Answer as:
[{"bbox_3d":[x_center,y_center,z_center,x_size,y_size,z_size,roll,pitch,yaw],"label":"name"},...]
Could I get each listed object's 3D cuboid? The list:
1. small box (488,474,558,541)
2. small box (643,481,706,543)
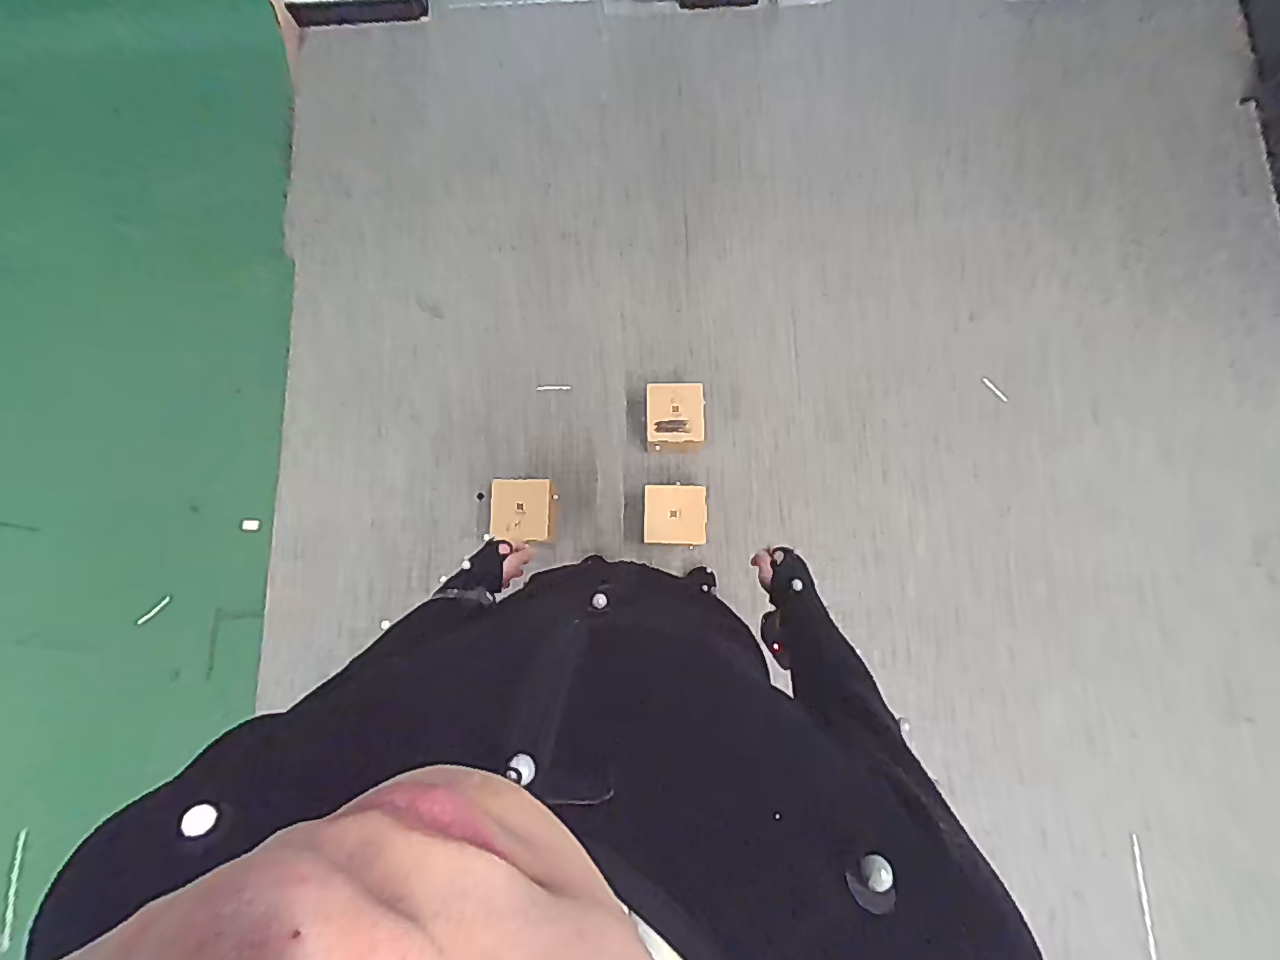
[{"bbox_3d":[-0.336,0.084,1.588,0.168,0.176,0.179,1,81,1],"label":"small box"},{"bbox_3d":[0.098,0.098,1.581,0.179,0.176,0.168,1,81,0],"label":"small box"}]
